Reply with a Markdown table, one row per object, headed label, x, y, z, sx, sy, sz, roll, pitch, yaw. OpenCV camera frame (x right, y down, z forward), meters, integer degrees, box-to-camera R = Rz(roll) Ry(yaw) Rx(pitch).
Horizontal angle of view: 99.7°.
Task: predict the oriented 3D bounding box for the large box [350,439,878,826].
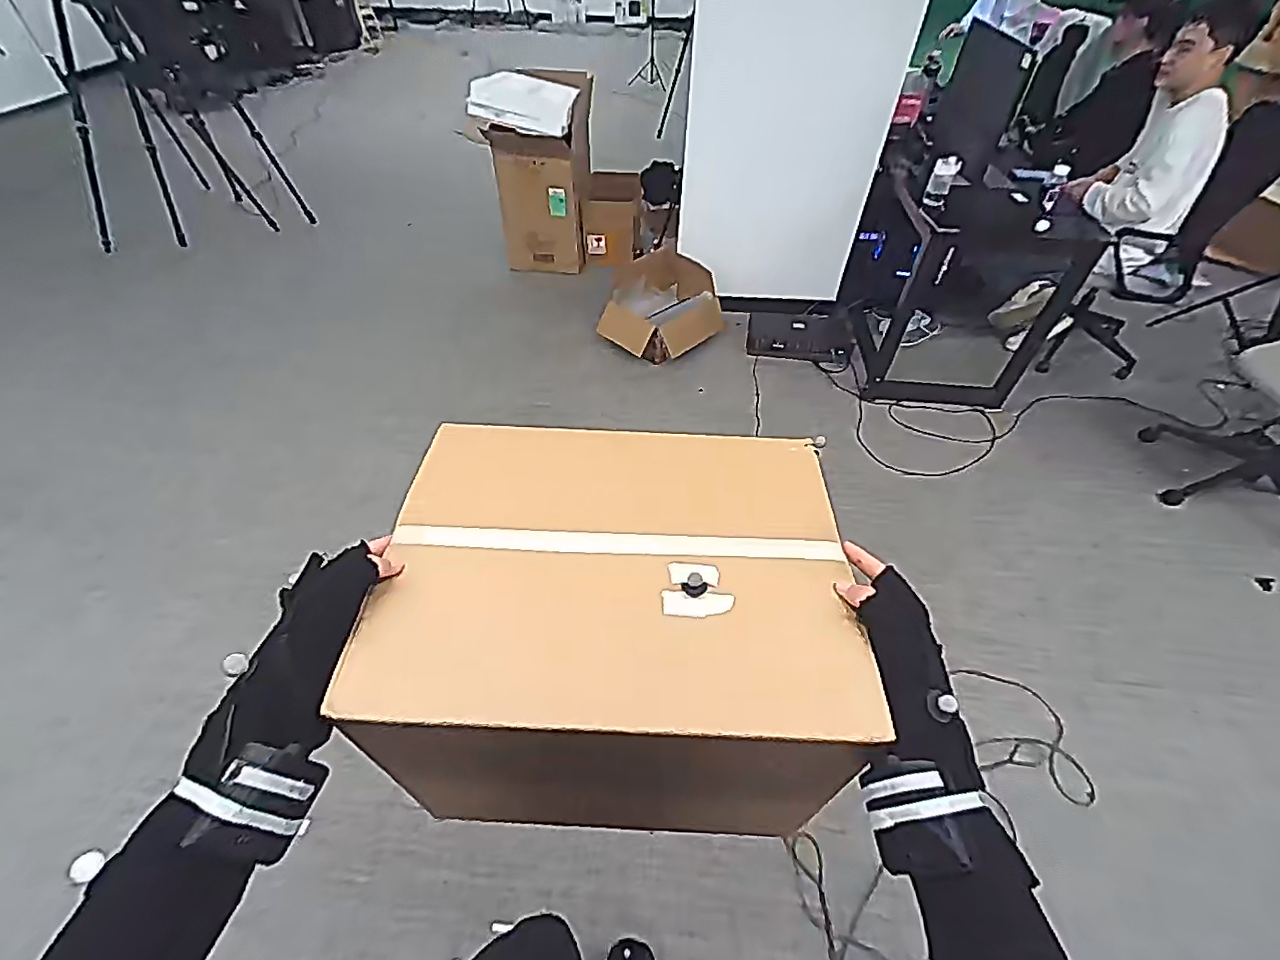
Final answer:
| label | x | y | z | sx | sy | sz | roll | pitch | yaw |
| --- | --- | --- | --- | --- | --- | --- | --- | --- | --- |
| large box | -0.021 | 0.173 | 0.608 | 0.408 | 0.320 | 0.320 | 3 | 46 | 0 |
